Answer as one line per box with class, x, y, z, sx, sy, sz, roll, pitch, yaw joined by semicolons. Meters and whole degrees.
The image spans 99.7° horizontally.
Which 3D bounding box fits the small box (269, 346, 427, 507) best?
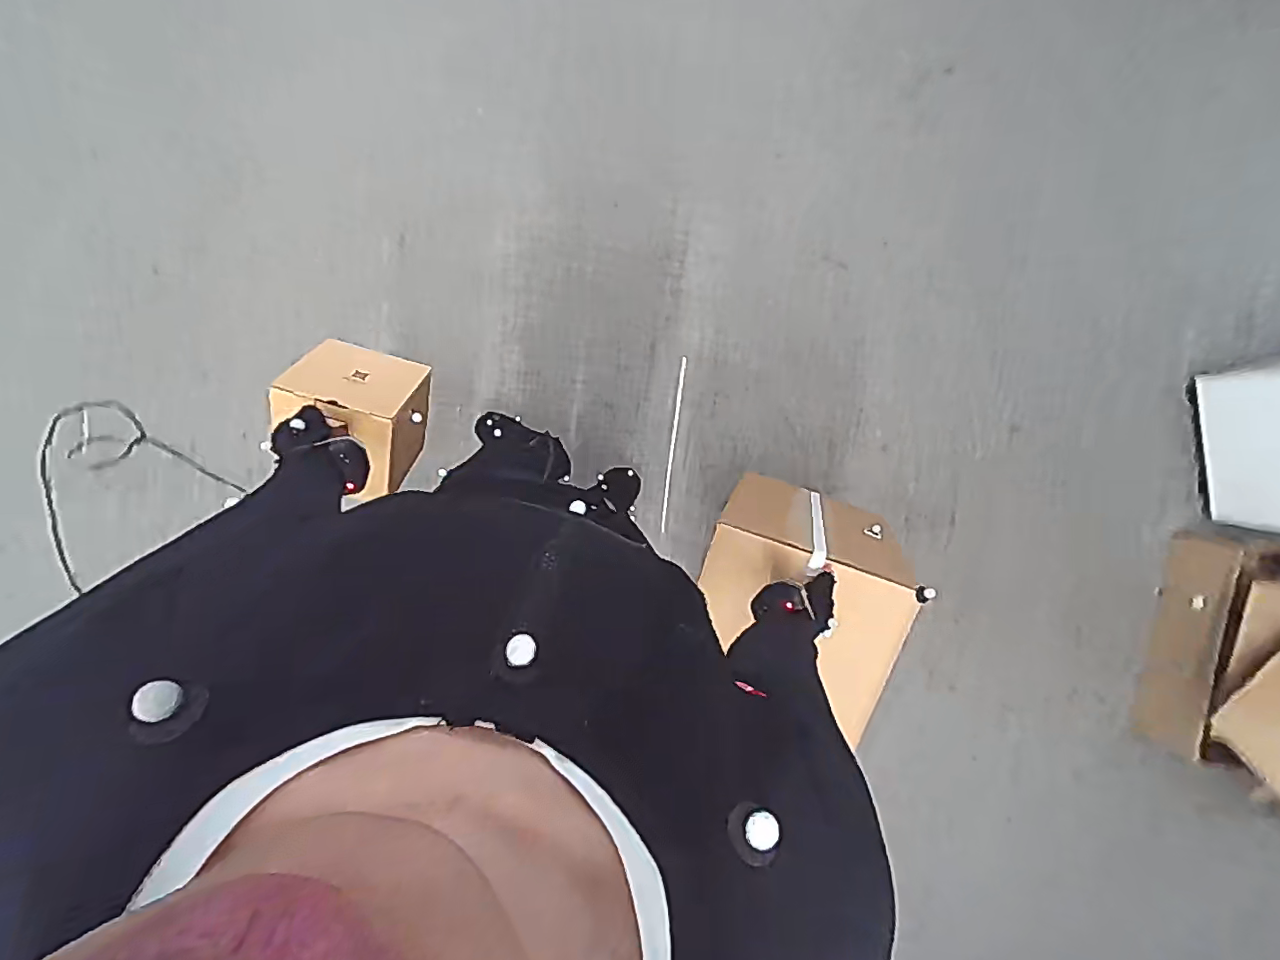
small box;-0.457;-0.086;0.866;0.168;0.179;0.176;14;126;-10
